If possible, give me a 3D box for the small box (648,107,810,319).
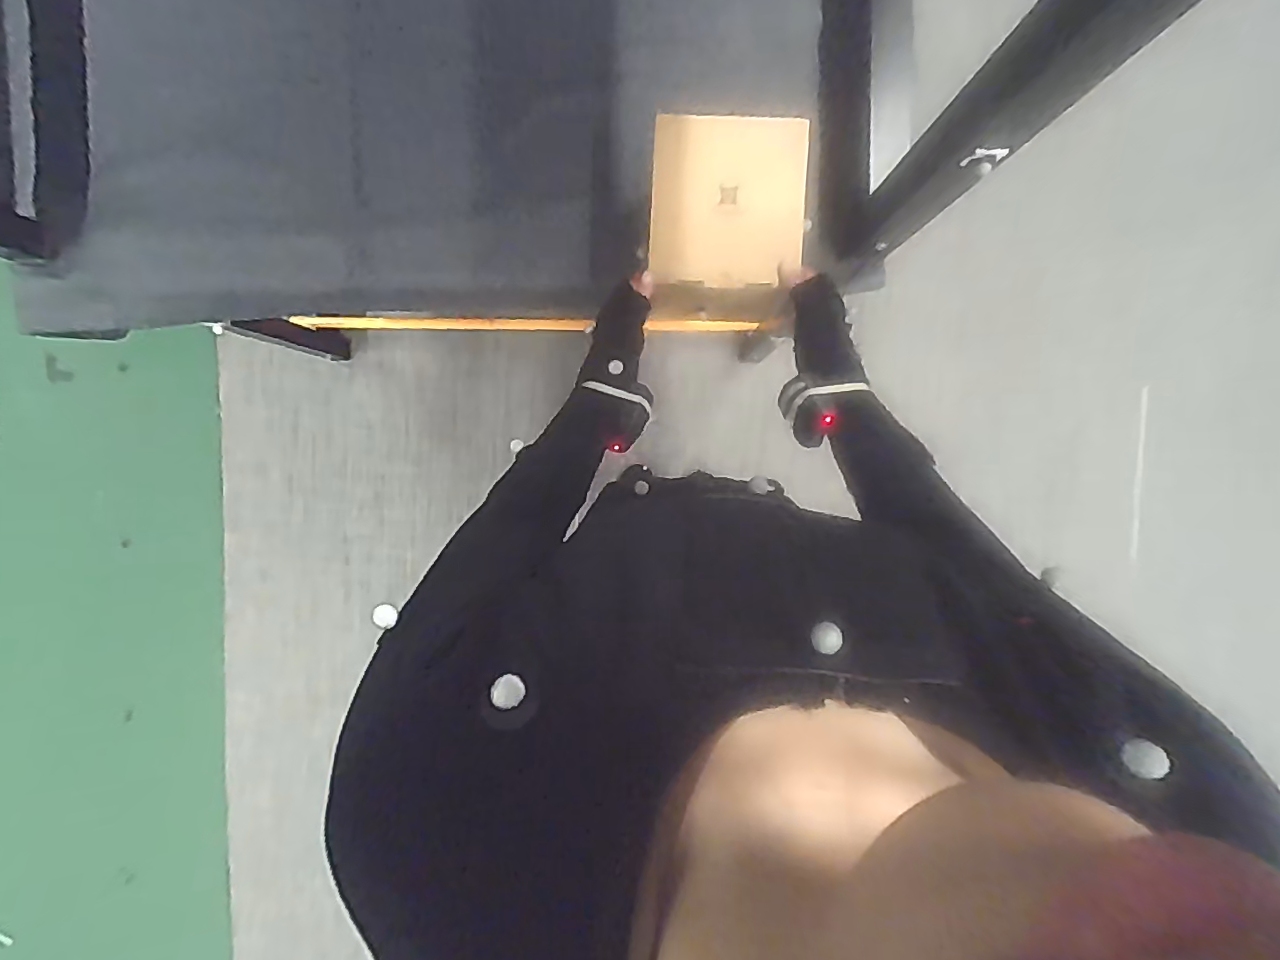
[{"bbox_3d":[0.095,-0.305,0.648,0.168,0.176,0.179,2,94,2],"label":"small box"}]
